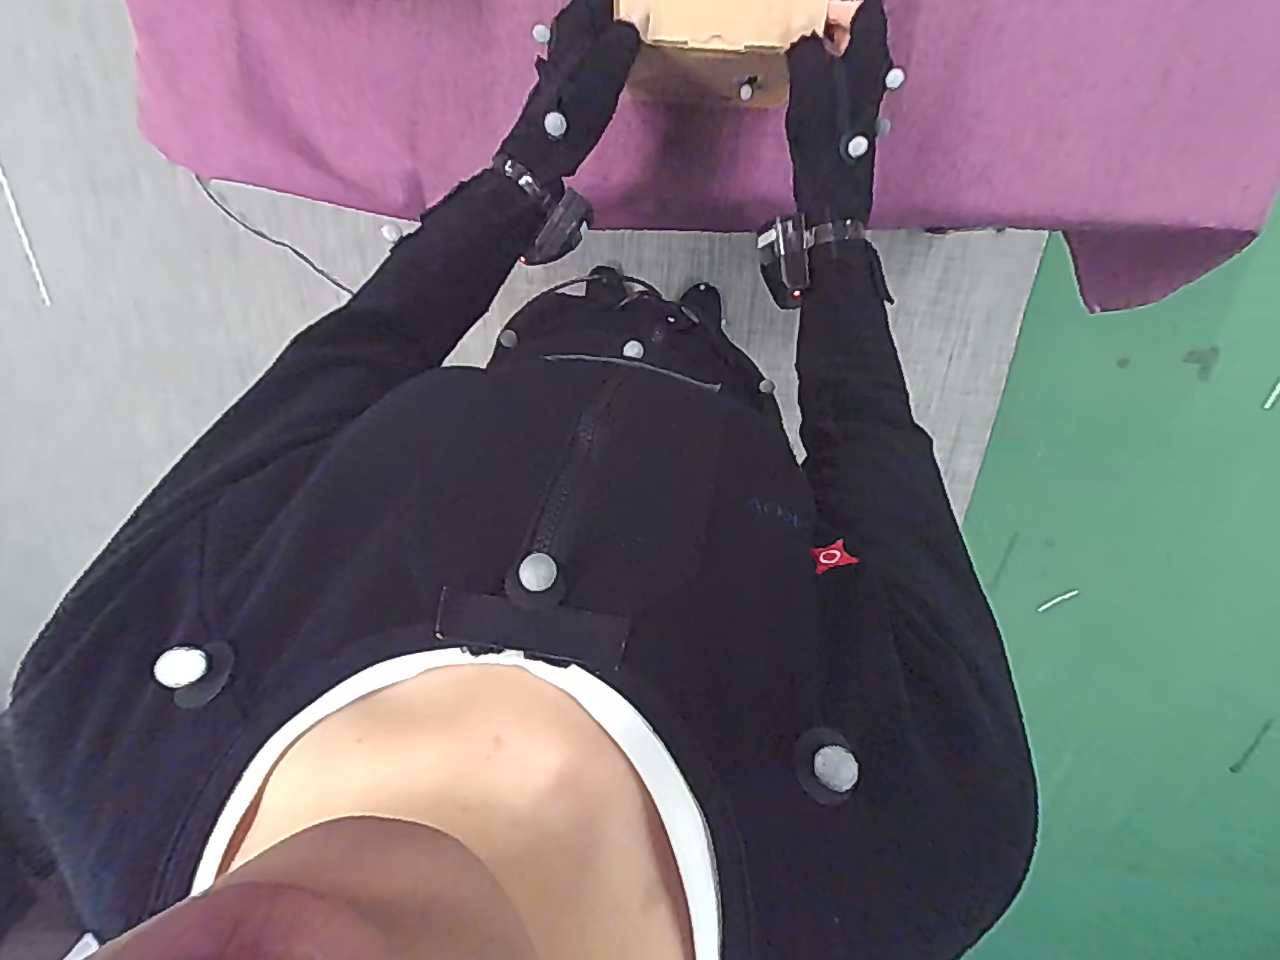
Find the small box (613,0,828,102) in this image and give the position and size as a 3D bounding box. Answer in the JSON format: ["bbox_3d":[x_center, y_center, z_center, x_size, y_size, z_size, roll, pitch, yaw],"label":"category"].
[{"bbox_3d":[0.072,-0.448,0.463,0.168,0.176,0.179,5,112,1],"label":"small box"}]
